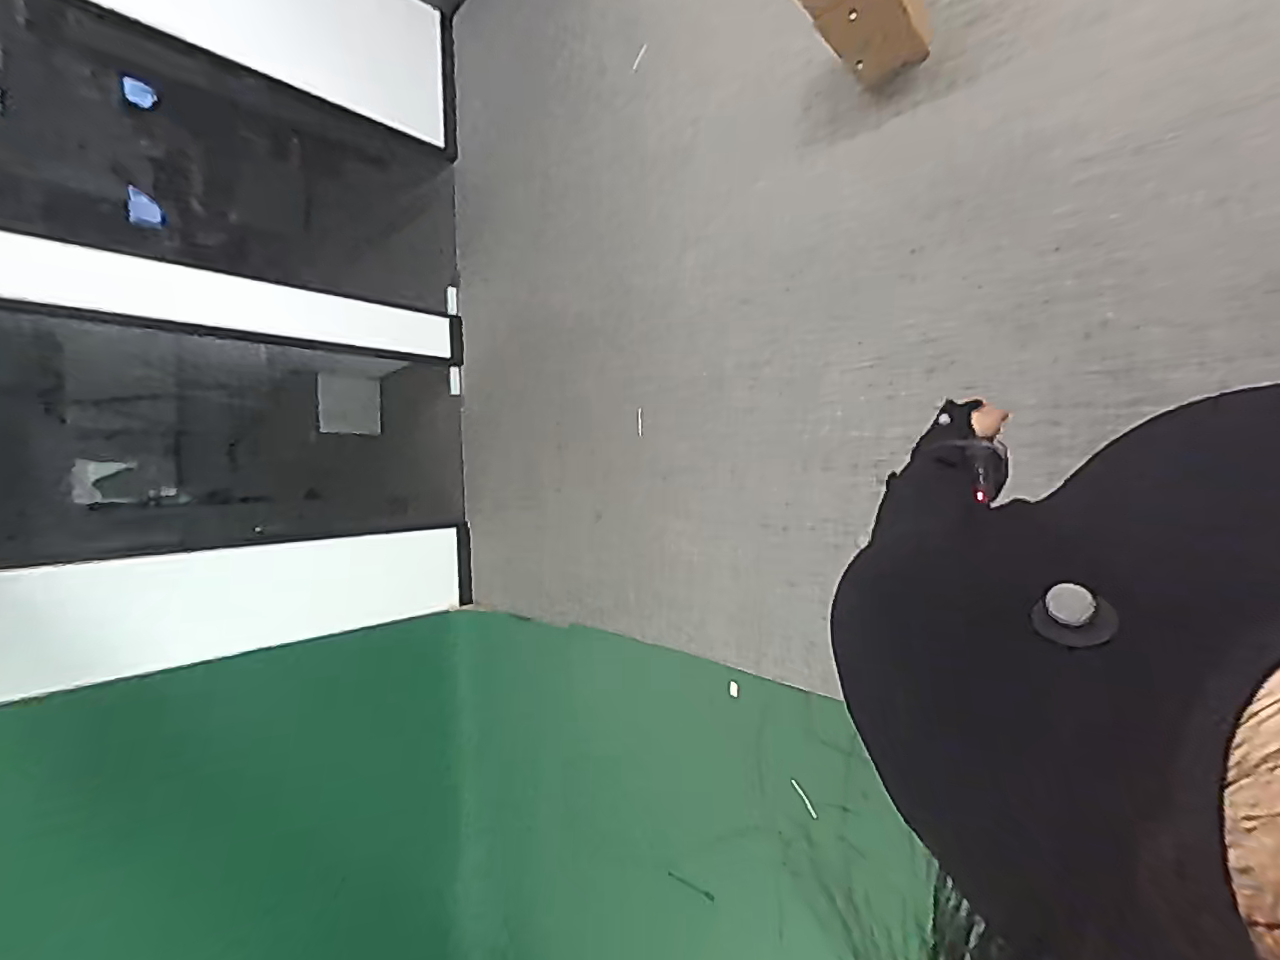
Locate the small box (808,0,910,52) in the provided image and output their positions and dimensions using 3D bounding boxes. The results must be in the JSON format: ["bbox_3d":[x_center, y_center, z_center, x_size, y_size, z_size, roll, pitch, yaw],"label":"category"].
[{"bbox_3d":[0.506,-1.158,1.255,0.179,0.176,0.168,-4,90,43],"label":"small box"}]
